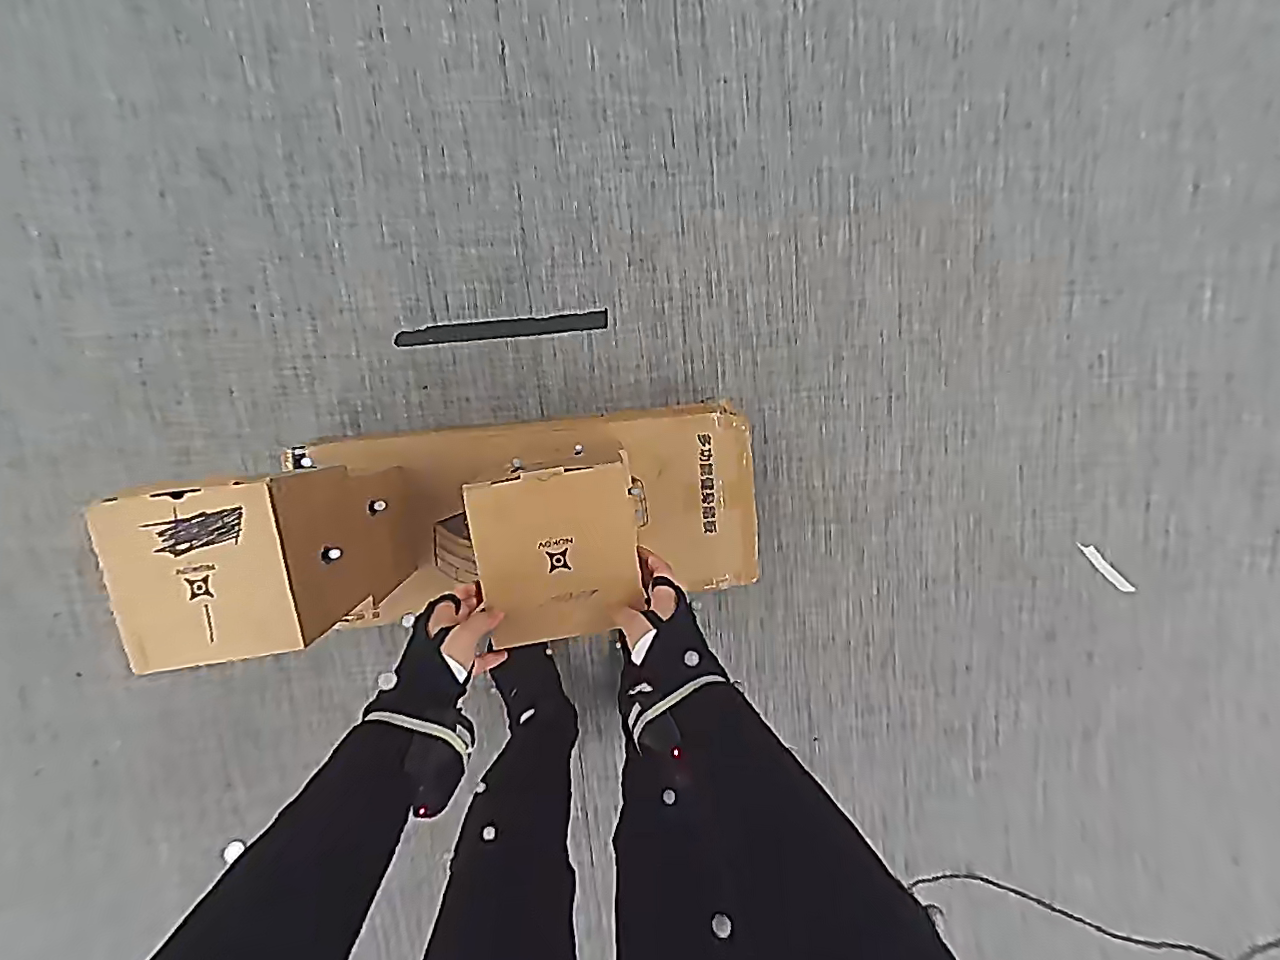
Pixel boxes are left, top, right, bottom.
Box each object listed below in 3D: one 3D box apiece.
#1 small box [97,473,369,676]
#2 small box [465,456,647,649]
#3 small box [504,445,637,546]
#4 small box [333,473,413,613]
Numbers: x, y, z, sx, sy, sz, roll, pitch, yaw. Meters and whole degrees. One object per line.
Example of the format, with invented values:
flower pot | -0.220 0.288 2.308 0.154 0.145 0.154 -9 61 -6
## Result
small box | -0.430 0.089 0.605 0.168 0.176 0.179 -7 98 -4
small box | -0.091 0.070 0.635 0.168 0.176 0.179 -10 98 -2
small box | -0.094 0.050 0.797 0.168 0.176 0.179 -8 98 -4
small box | -0.440 0.084 0.769 0.168 0.176 0.179 -6 97 -4
